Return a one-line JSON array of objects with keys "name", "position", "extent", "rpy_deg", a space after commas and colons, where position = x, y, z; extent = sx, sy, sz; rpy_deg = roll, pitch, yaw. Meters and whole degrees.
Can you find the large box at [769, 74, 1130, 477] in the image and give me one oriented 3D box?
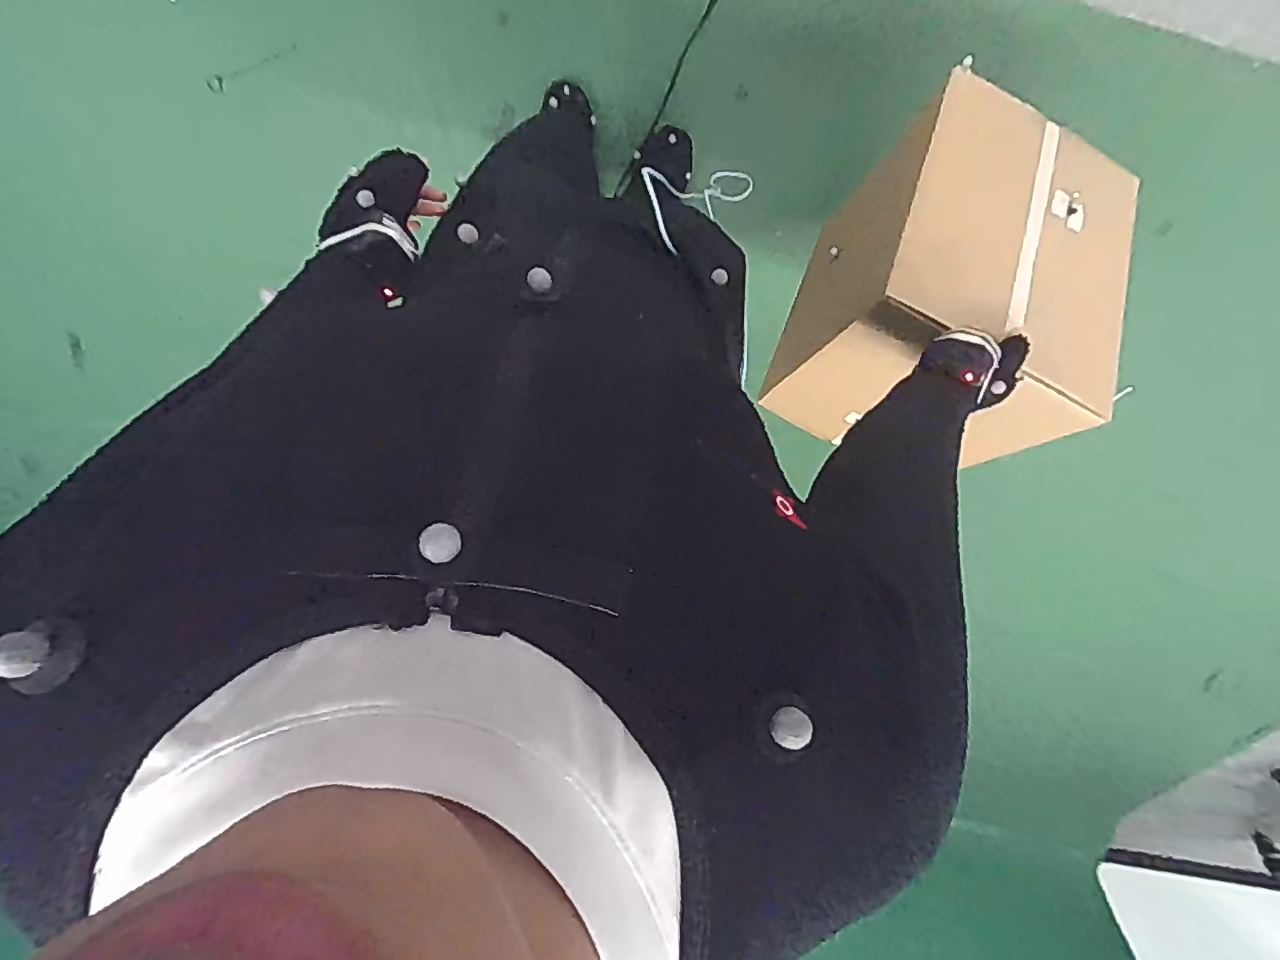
[{"name": "large box", "position": [0.443, -0.270, 0.814], "extent": [0.320, 0.408, 0.320], "rpy_deg": [26, 161, -7]}]
